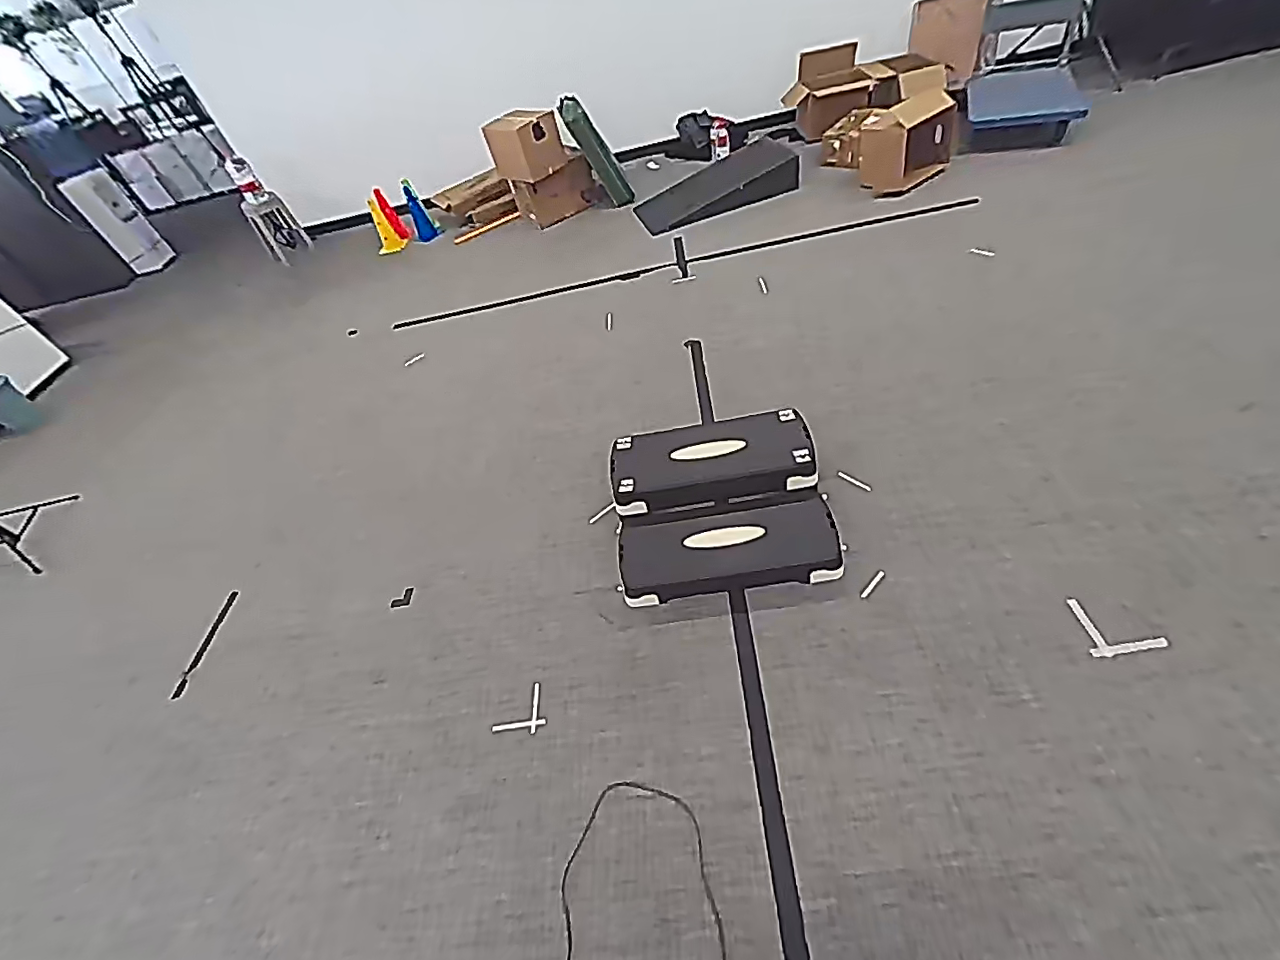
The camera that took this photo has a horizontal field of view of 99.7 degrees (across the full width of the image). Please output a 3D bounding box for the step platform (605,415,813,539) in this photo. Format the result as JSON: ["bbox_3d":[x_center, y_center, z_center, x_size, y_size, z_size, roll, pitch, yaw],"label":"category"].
[{"bbox_3d":[0.224,-0.012,1.830,0.684,0.204,0.286,-10,47,5],"label":"step platform"}]
